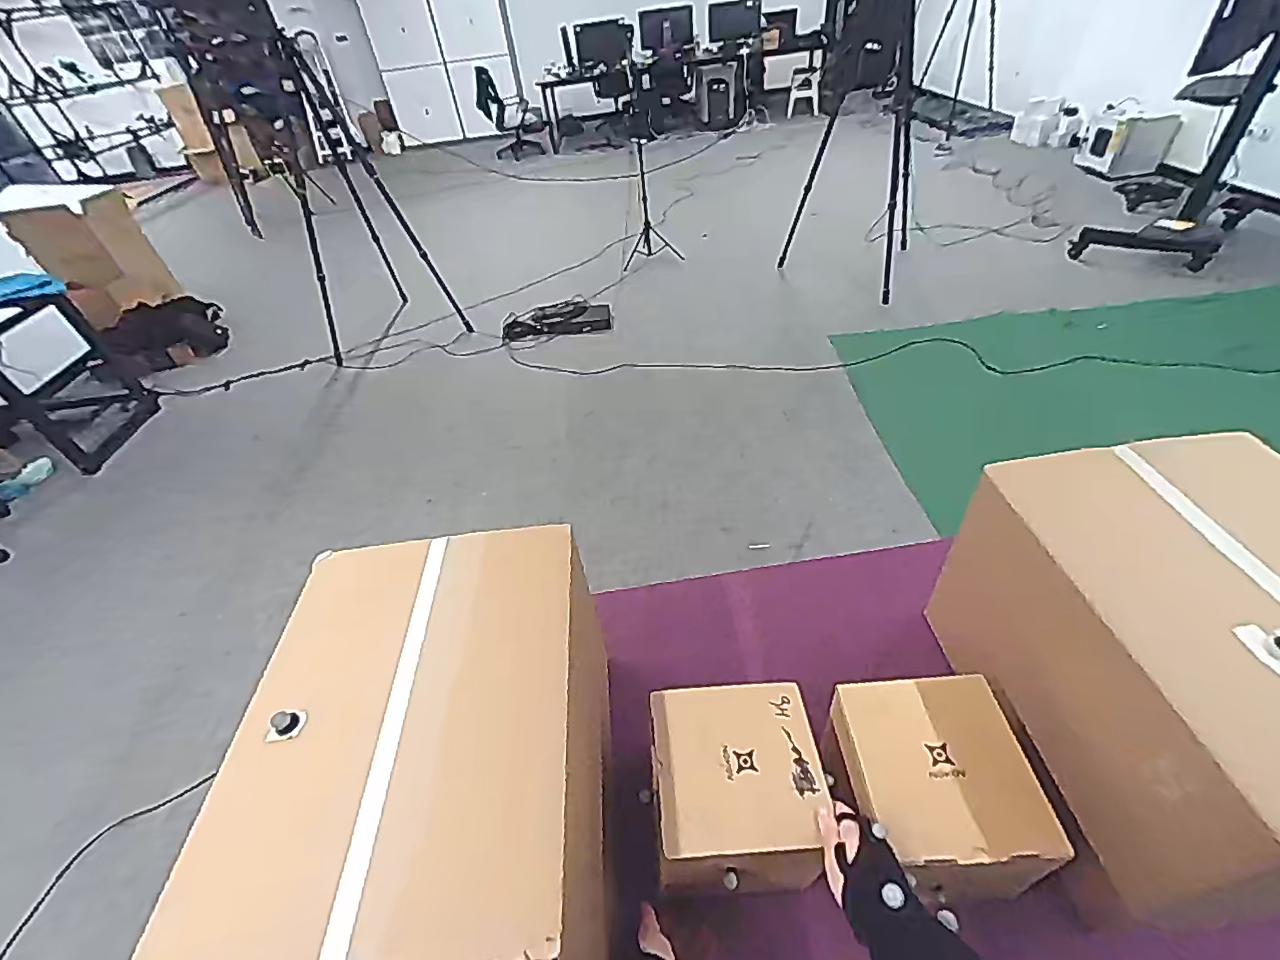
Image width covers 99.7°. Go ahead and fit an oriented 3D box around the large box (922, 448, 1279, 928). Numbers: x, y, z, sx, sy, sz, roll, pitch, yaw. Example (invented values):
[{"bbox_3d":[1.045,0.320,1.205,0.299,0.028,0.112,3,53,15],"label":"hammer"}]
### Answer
[{"bbox_3d":[0.593,0.217,0.611,0.320,0.320,0.408,-7,43,2],"label":"large box"}]
